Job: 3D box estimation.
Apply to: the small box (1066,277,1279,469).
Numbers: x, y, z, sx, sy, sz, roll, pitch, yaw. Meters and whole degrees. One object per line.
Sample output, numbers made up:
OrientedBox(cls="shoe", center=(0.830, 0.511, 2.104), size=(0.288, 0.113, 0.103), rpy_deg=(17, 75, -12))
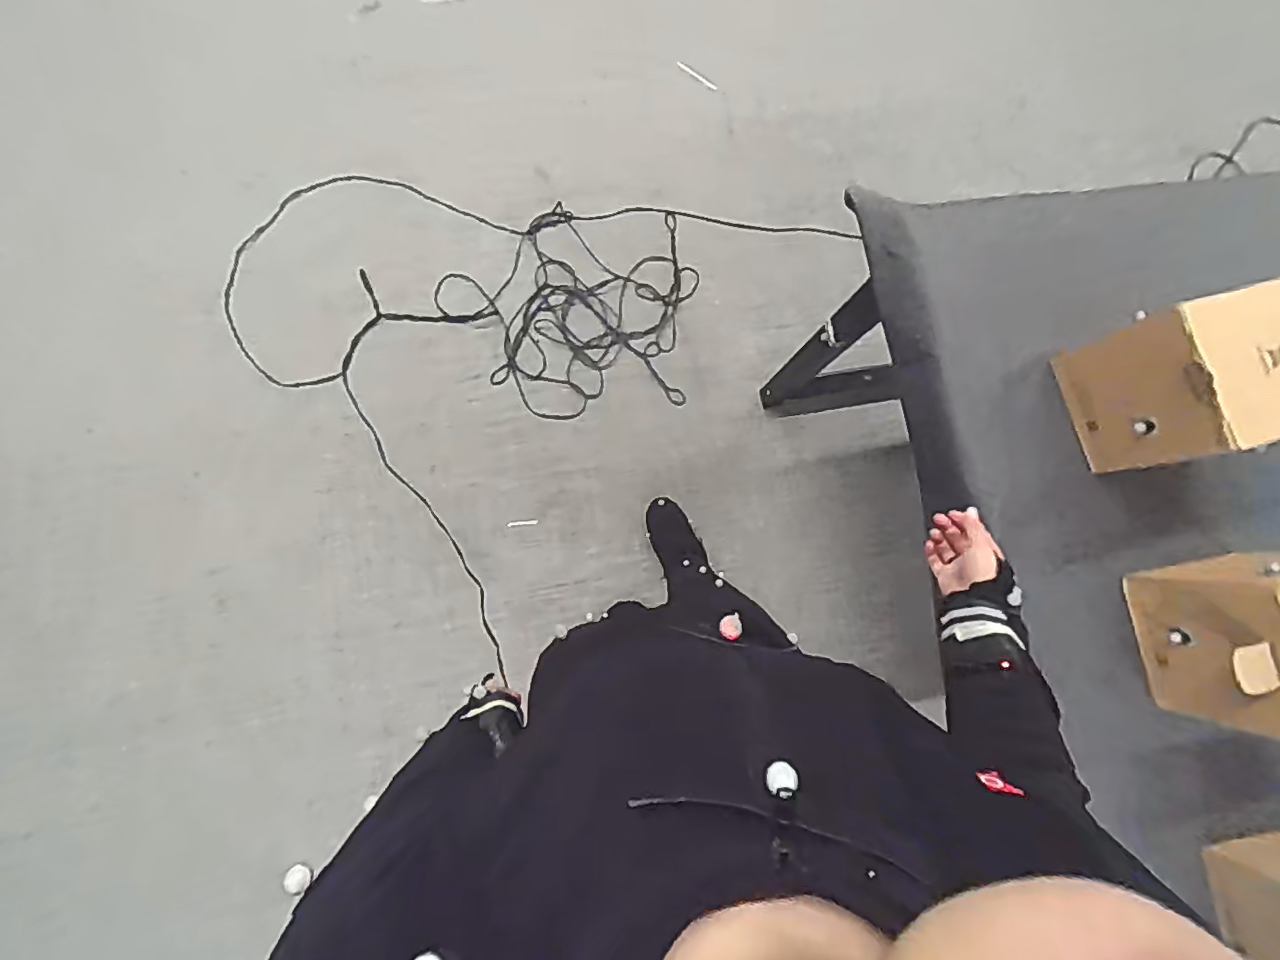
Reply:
OrientedBox(cls="small box", center=(0.664, -0.120, 0.649), size=(0.179, 0.176, 0.168), rpy_deg=(-15, 85, -8))

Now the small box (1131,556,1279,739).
OrientedBox(cls="small box", center=(0.727, 0.180, 0.612), size=(0.179, 0.176, 0.168), rpy_deg=(-9, 83, -6))
